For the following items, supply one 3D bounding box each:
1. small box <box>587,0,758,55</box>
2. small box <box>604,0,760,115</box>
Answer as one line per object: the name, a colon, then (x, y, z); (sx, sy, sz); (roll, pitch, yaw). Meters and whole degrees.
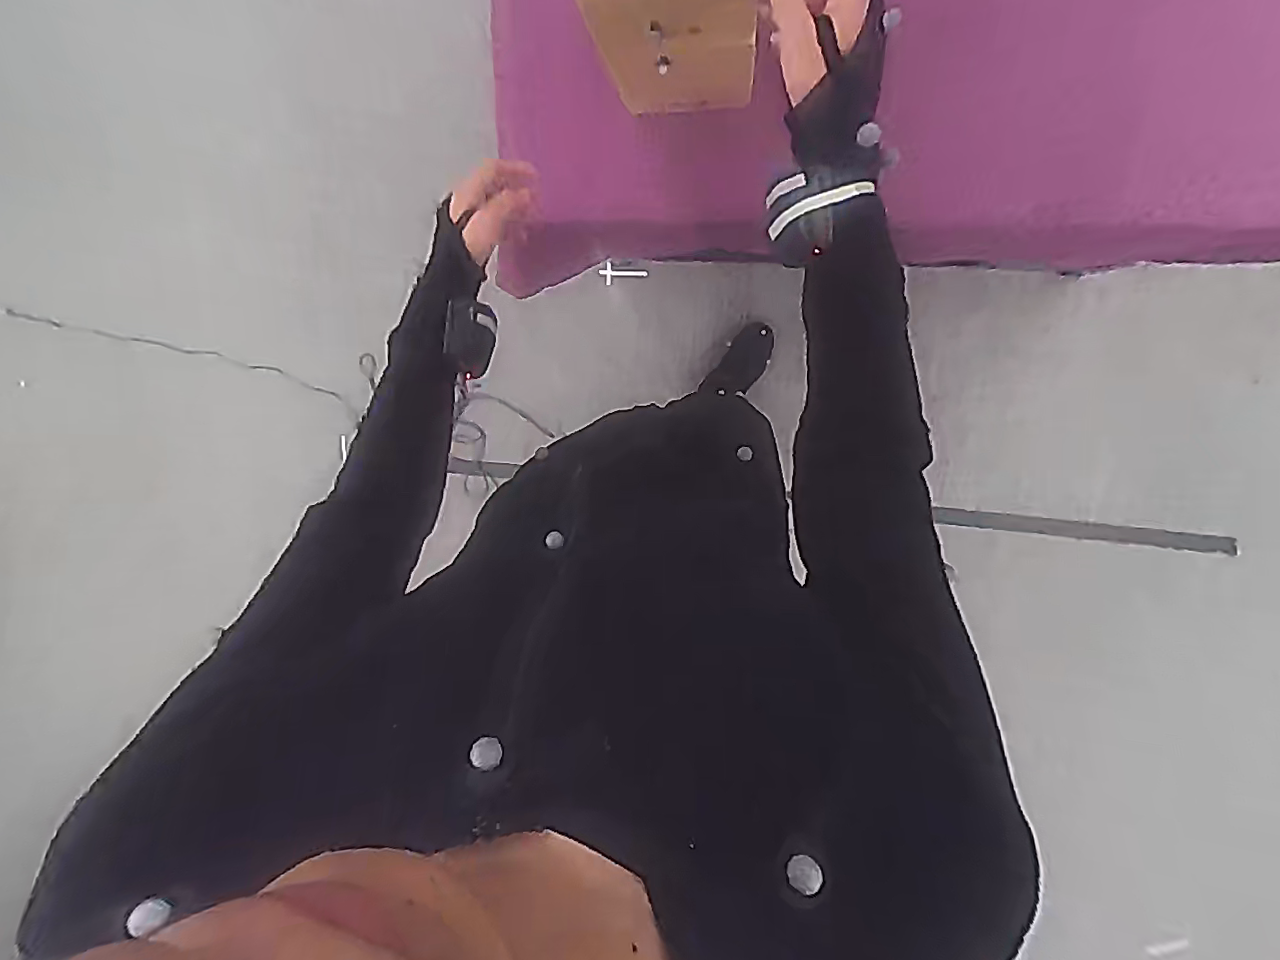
small box: (0.026, -0.521, 0.476); (0.168, 0.176, 0.179); (1, 105, 9)
small box: (0.056, -0.560, 0.632); (0.168, 0.176, 0.179); (3, 105, 9)
